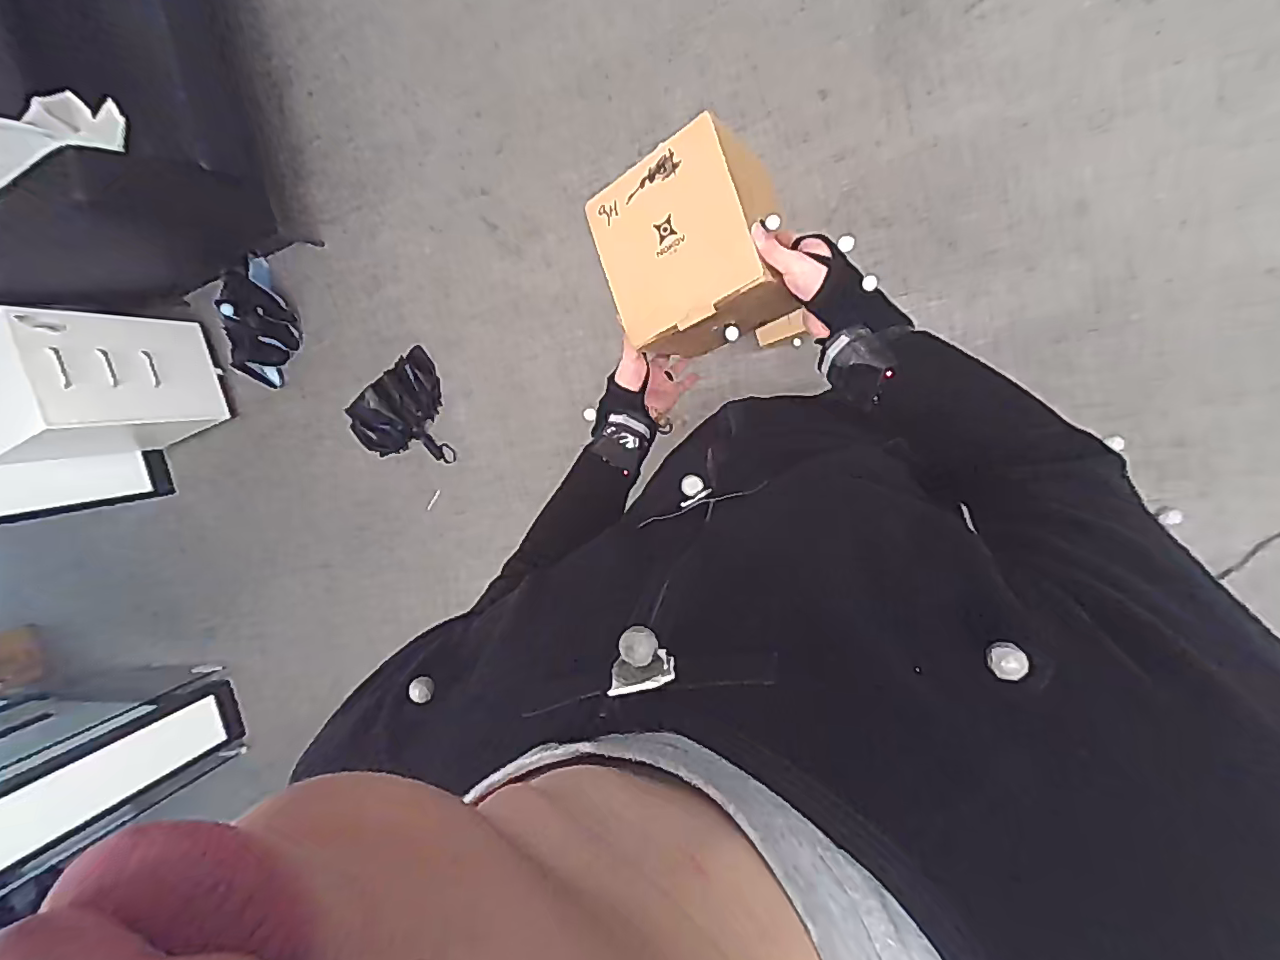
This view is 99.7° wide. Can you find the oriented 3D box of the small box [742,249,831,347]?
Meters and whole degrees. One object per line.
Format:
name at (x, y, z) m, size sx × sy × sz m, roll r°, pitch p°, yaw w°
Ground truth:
small box at (0.367, -0.439, 1.337) m, size 0.168 × 0.176 × 0.179 m, roll -15°, pitch 95°, yaw 24°
